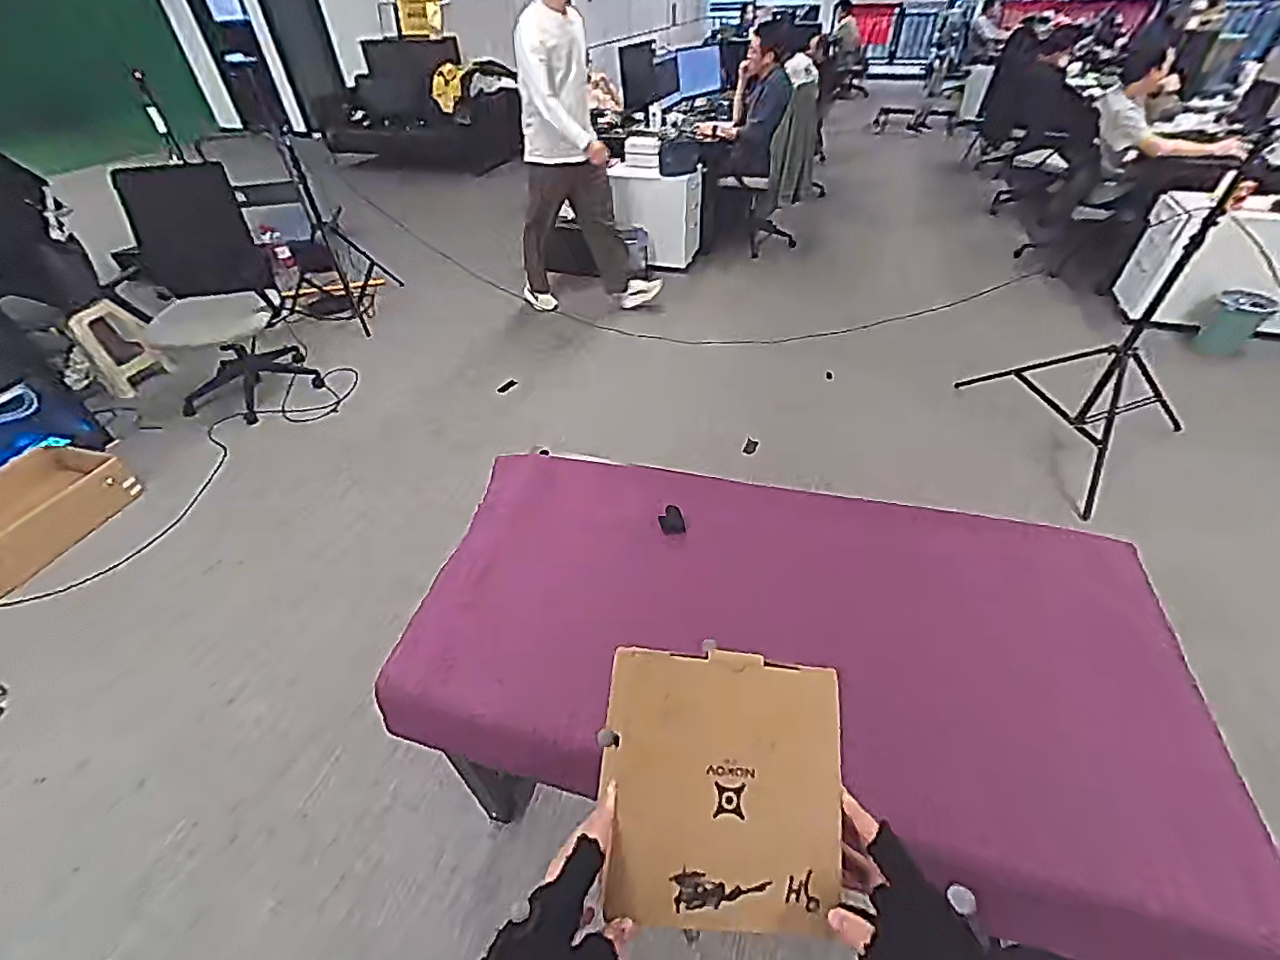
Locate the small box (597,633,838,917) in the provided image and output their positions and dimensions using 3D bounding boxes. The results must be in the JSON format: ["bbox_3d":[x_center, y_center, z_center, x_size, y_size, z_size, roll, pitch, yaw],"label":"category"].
[{"bbox_3d":[0.055,0.235,0.470,0.168,0.176,0.179,8,71,-5],"label":"small box"}]
